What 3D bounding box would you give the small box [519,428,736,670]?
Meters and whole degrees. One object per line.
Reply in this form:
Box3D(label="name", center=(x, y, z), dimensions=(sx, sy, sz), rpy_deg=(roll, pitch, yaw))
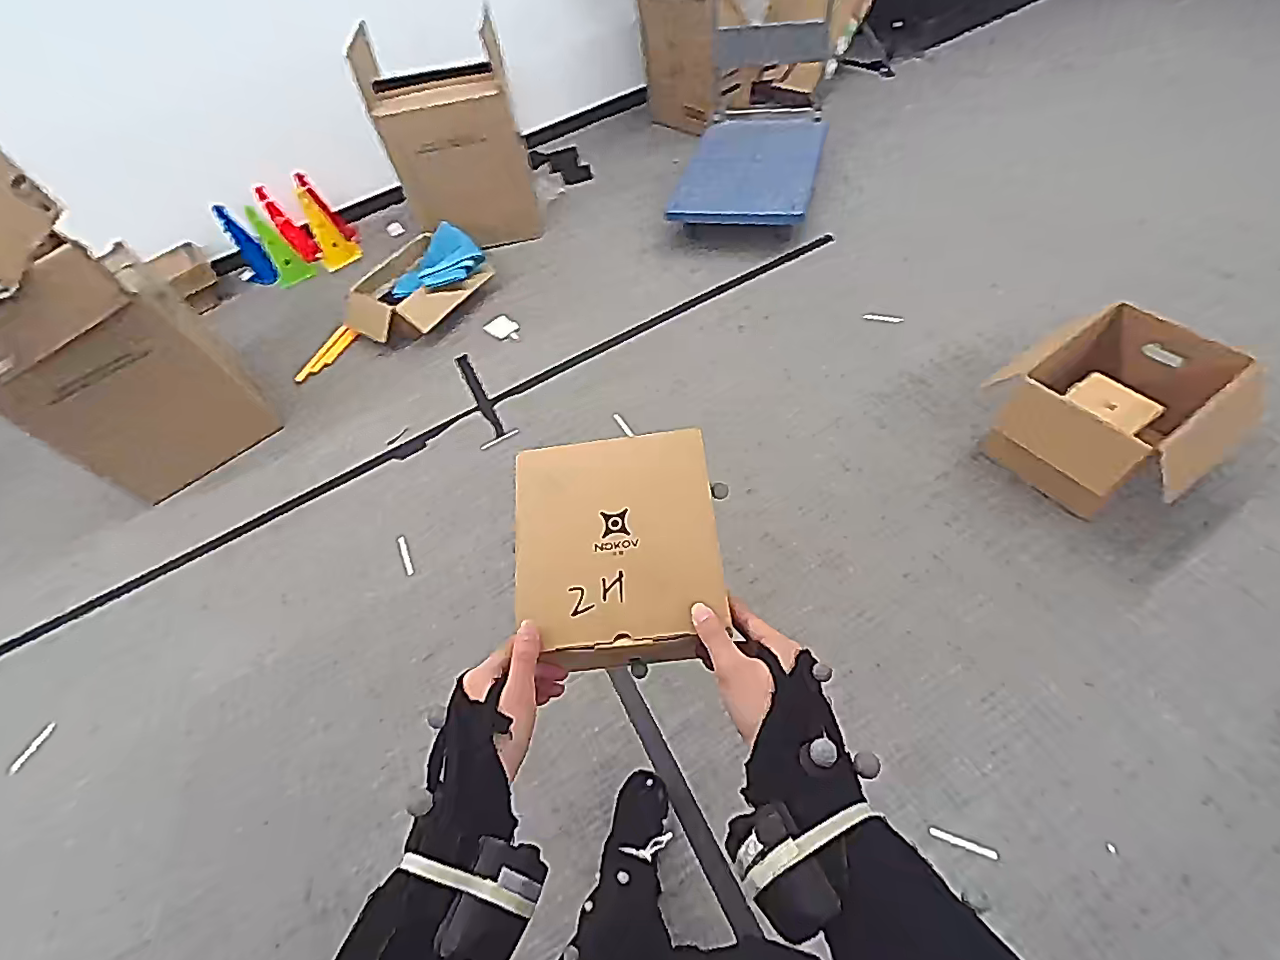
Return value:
Box3D(label="small box", center=(-0.007, 0.073, 0.510), dimensions=(0.168, 0.176, 0.179), rpy_deg=(-7, 65, 4))
